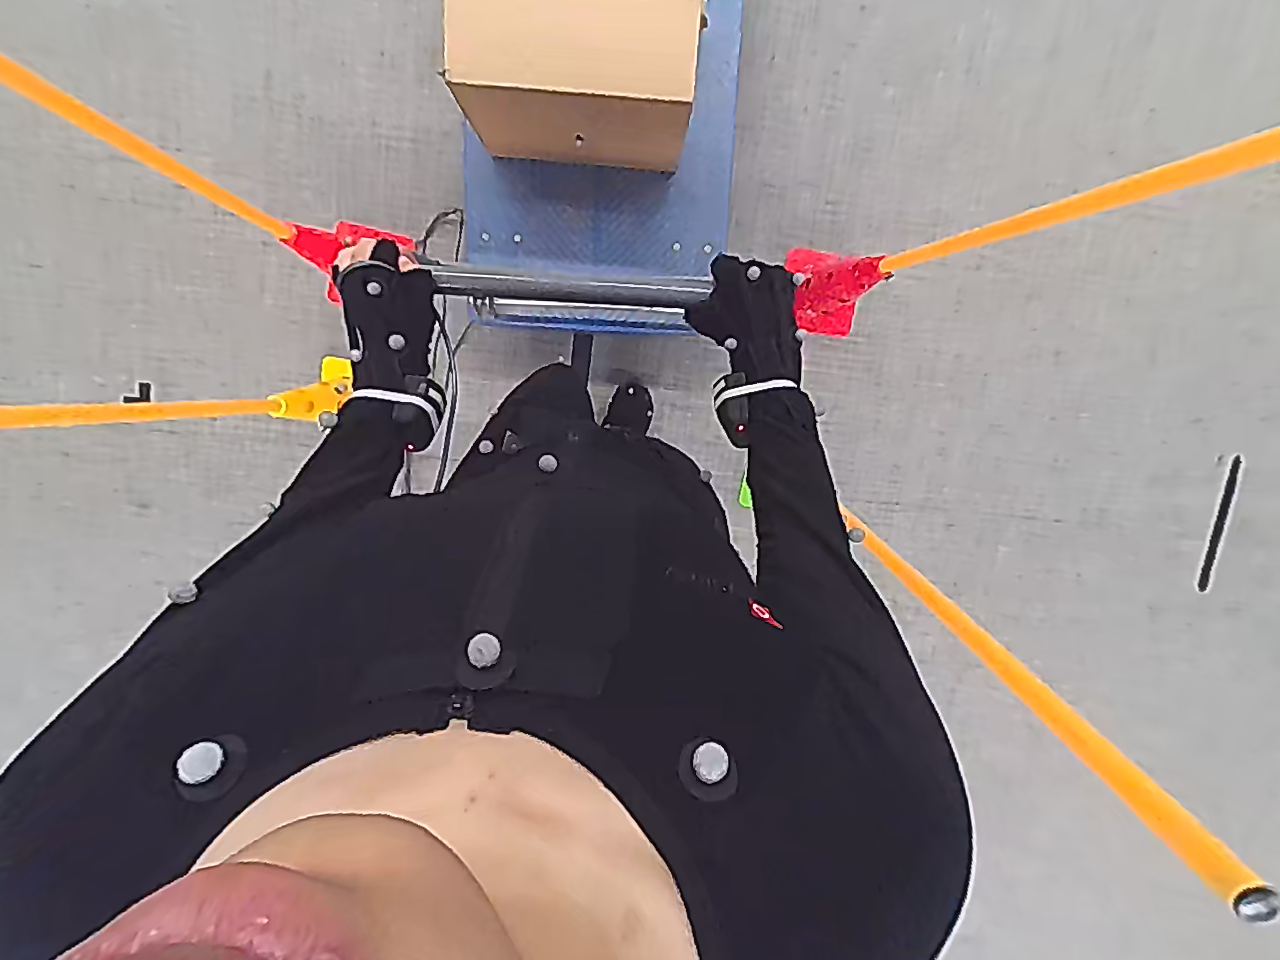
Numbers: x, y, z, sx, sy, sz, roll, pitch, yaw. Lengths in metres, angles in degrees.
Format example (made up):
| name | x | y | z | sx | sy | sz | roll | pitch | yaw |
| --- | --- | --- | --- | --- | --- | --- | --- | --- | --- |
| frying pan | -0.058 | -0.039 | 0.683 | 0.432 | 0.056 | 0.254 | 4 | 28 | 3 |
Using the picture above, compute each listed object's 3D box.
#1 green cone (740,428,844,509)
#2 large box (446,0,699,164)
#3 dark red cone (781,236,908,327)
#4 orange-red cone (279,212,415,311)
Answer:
| name | x | y | z | sx | sy | sz | roll | pitch | yaw |
| --- | --- | --- | --- | --- | --- | --- | --- | --- | --- |
| green cone | 0.390 | 0.003 | 1.297 | 0.202 | 0.368 | 0.200 | 10 | 100 | -5 |
| large box | -0.104 | -0.807 | 0.989 | 0.408 | 0.320 | 0.320 | 4 | 101 | -2 |
| dark red cone | 0.470 | -0.465 | 1.196 | 0.201 | 0.394 | 0.202 | 6 | 101 | -5 |
| orange-red cone | -0.664 | -0.512 | 1.177 | 0.198 | 0.360 | 0.199 | 14 | 98 | -5 |
